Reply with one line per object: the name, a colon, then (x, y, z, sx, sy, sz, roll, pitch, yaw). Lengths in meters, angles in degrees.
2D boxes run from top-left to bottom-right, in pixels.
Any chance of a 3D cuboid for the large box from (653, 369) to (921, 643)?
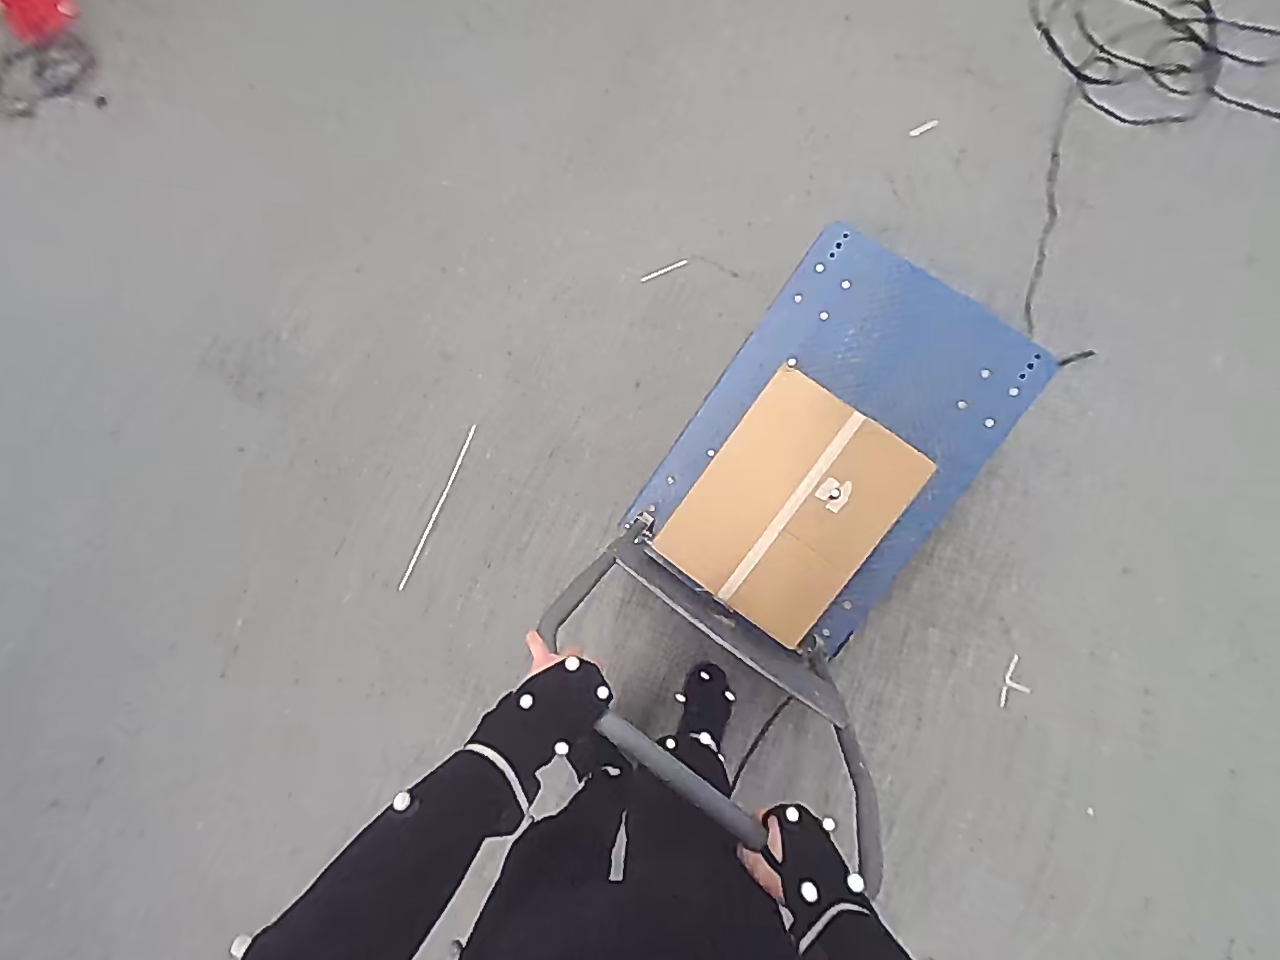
large box: (0.276, 0.048, 1.112, 0.320, 0.320, 0.408, 36, 96, 6)
